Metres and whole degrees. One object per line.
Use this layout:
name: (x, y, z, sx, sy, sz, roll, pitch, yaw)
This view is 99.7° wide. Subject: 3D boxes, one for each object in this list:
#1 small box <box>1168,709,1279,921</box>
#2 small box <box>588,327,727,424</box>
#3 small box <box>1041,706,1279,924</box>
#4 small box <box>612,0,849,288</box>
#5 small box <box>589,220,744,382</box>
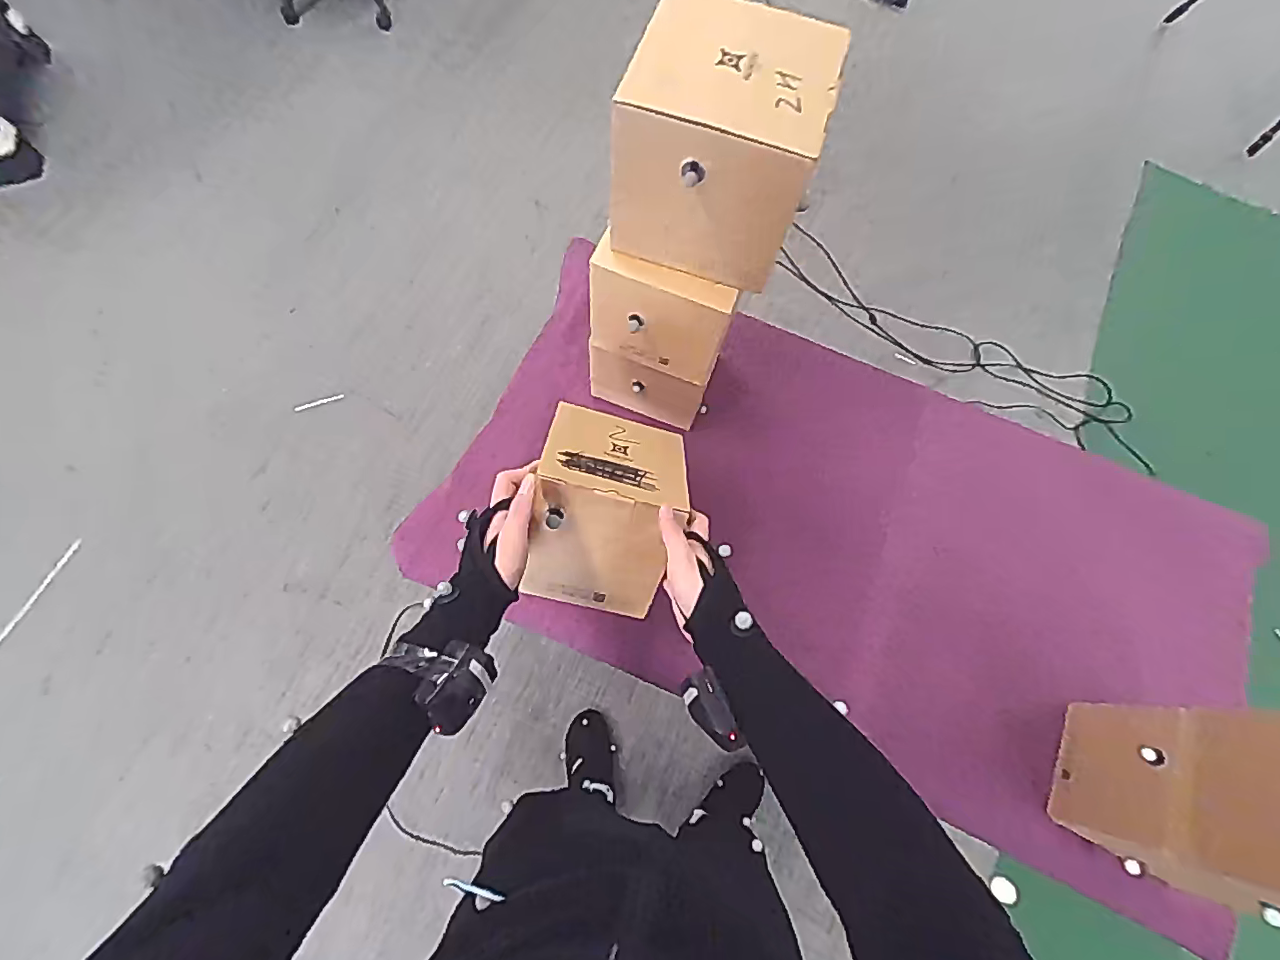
small box: (0.678, 0.342, 0.526, 0.168, 0.176, 0.179, 27, 71, 8)
small box: (0.032, -0.207, 0.843, 0.179, 0.176, 0.168, 21, 71, 4)
small box: (0.663, 0.399, 0.679, 0.179, 0.176, 0.168, 28, 70, 5)
small box: (0.078, -0.324, 0.541, 0.179, 0.176, 0.168, 18, 71, 2)
small box: (0.046, -0.253, 0.688, 0.168, 0.176, 0.179, 21, 70, 3)
